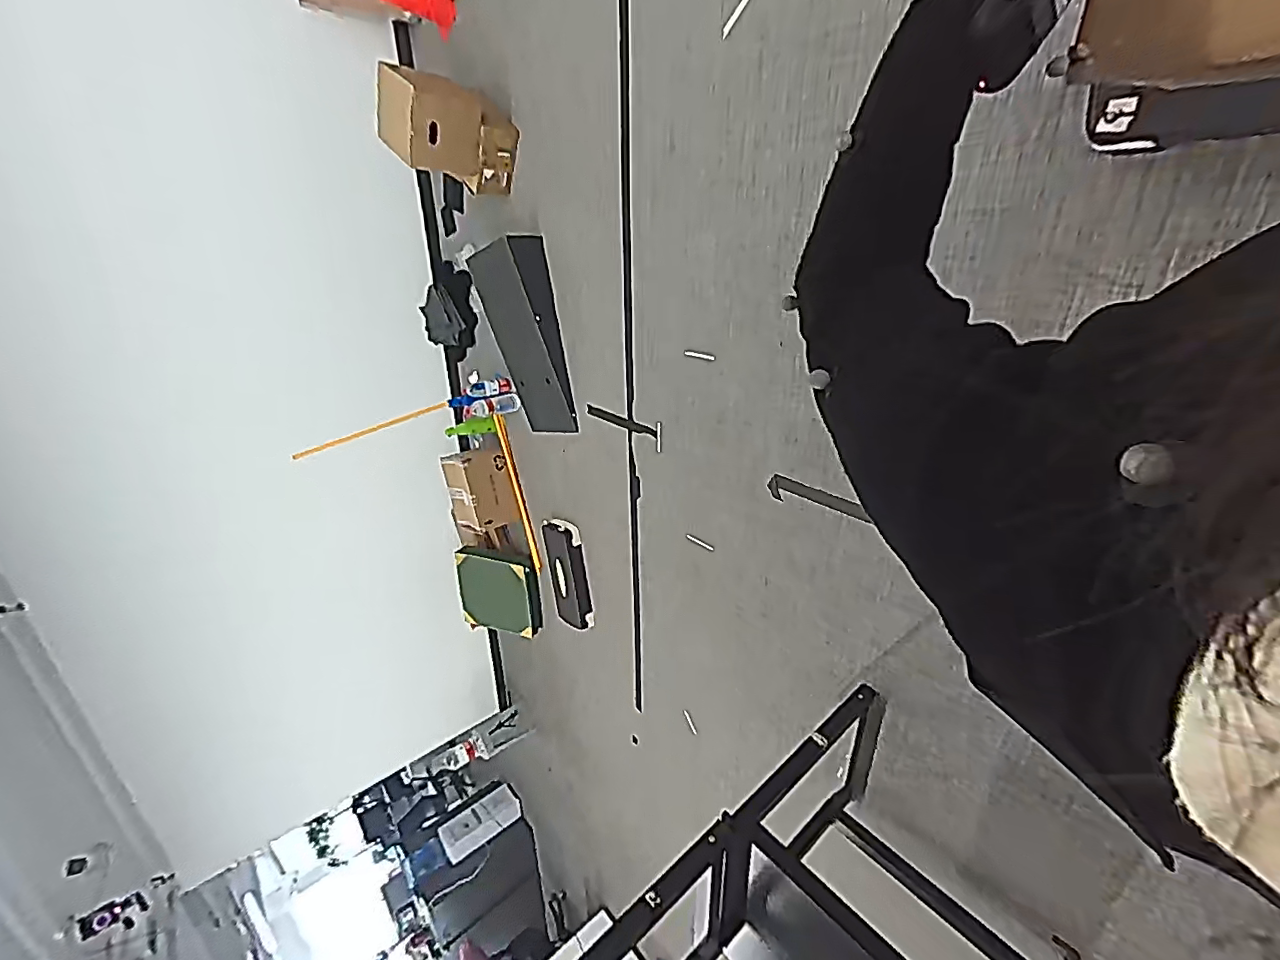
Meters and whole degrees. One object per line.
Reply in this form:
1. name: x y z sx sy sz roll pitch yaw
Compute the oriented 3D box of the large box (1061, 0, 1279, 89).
1. large box: 0.525 -0.400 0.249 0.408 0.320 0.320 28 133 43
